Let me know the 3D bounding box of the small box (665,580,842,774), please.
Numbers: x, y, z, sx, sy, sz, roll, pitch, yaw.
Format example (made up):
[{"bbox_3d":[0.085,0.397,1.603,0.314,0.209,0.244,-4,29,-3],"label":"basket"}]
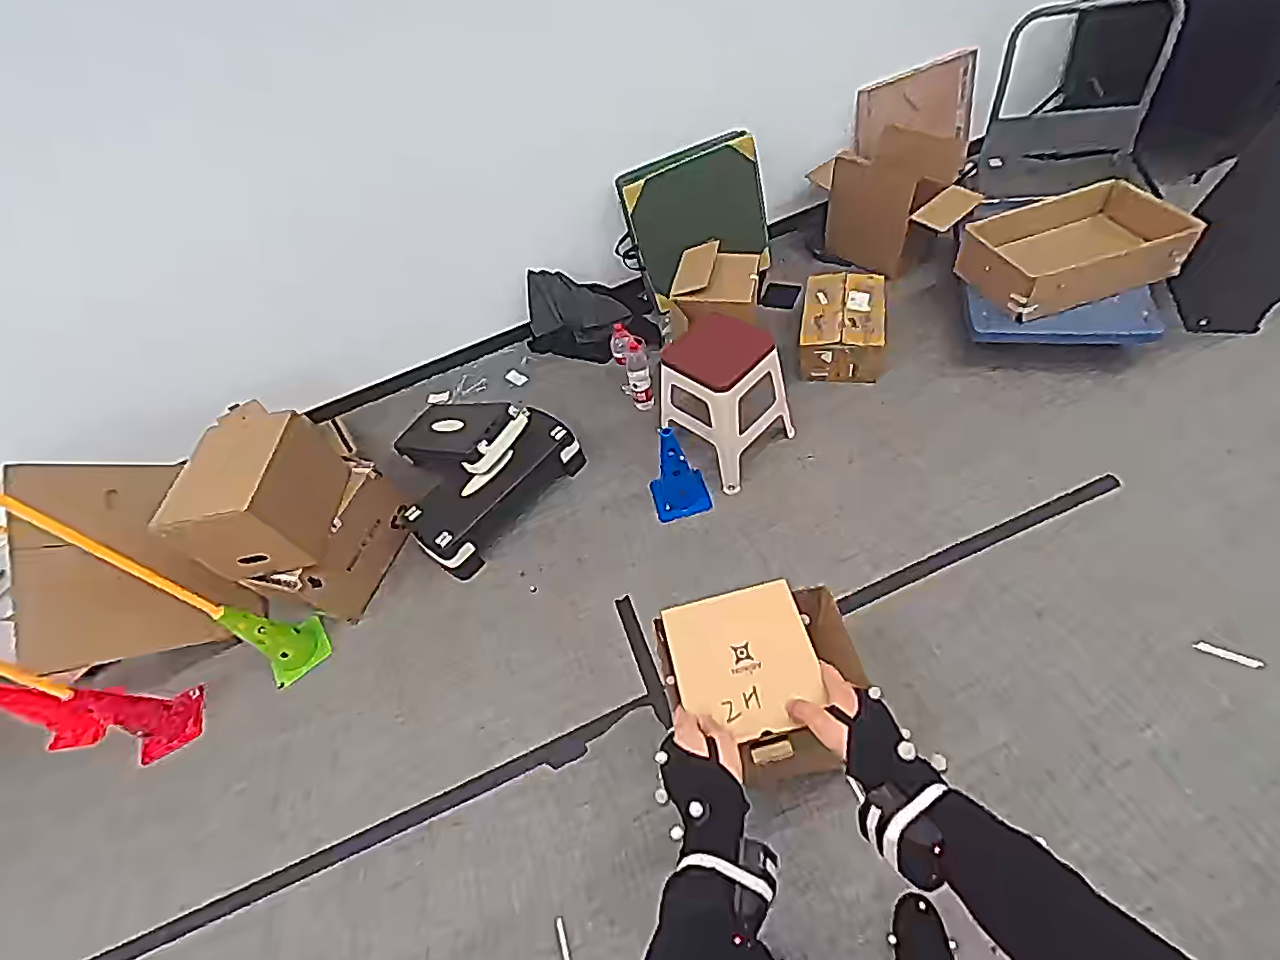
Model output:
[{"bbox_3d":[0.137,0.257,0.695,0.168,0.176,0.179,-15,54,2],"label":"small box"}]
